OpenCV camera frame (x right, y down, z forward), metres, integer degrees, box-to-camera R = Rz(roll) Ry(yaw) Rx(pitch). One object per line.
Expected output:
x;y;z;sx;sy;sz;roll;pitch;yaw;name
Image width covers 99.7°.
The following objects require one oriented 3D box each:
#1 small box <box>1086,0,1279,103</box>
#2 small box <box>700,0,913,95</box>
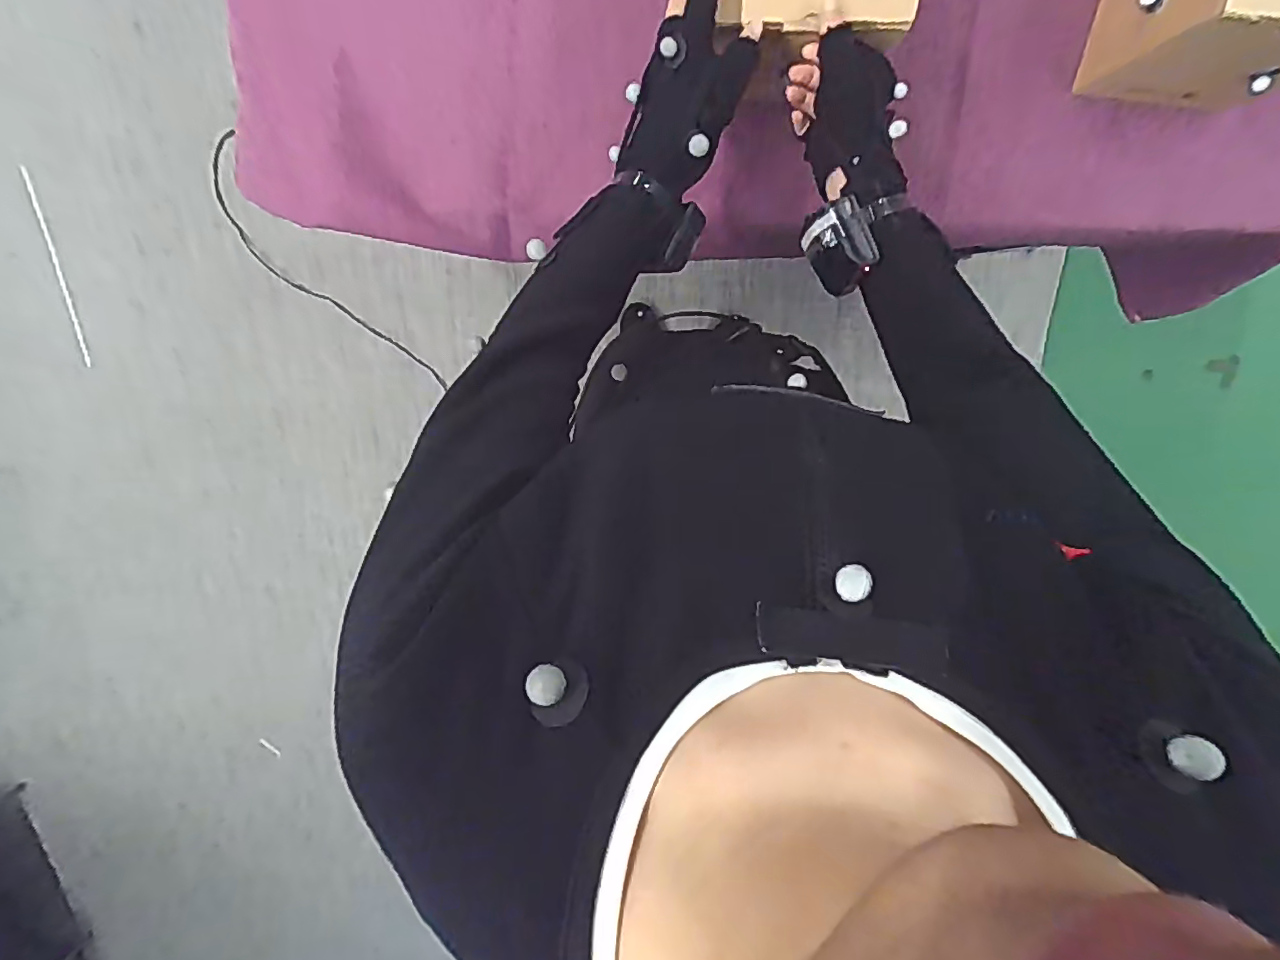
0.549;-0.462;0.473;0.168;0.176;0.179;8;108;0;small box
0.144;-0.474;0.488;0.168;0.176;0.179;2;109;2;small box
